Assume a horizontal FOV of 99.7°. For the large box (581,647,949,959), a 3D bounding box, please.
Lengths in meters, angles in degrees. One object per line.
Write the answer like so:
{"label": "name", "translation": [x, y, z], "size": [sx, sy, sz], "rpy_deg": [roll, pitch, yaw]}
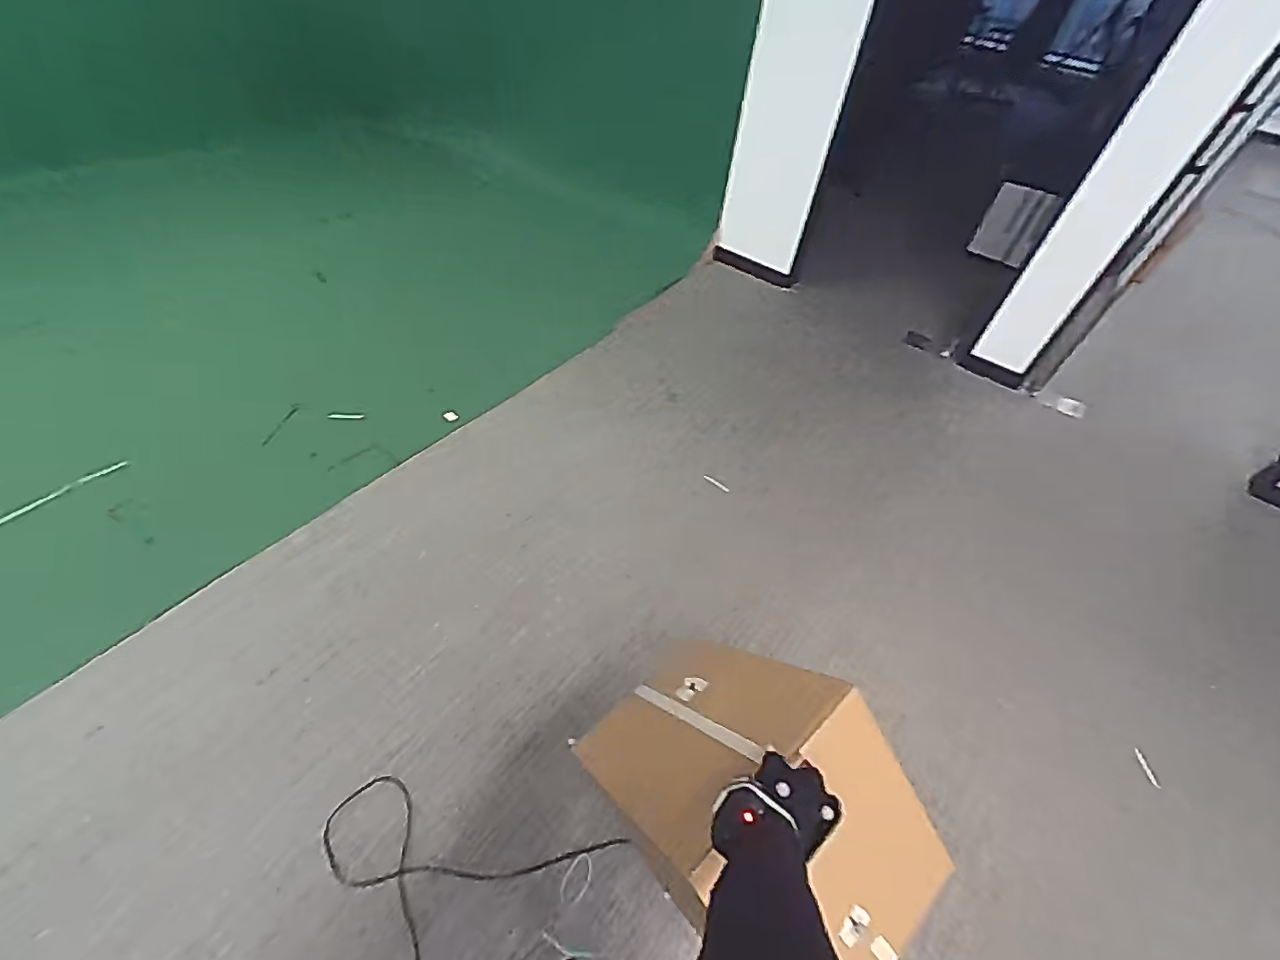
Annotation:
{"label": "large box", "translation": [0.170, 0.509, 0.851], "size": [0.320, 0.408, 0.320], "rpy_deg": [-33, 97, -25]}
